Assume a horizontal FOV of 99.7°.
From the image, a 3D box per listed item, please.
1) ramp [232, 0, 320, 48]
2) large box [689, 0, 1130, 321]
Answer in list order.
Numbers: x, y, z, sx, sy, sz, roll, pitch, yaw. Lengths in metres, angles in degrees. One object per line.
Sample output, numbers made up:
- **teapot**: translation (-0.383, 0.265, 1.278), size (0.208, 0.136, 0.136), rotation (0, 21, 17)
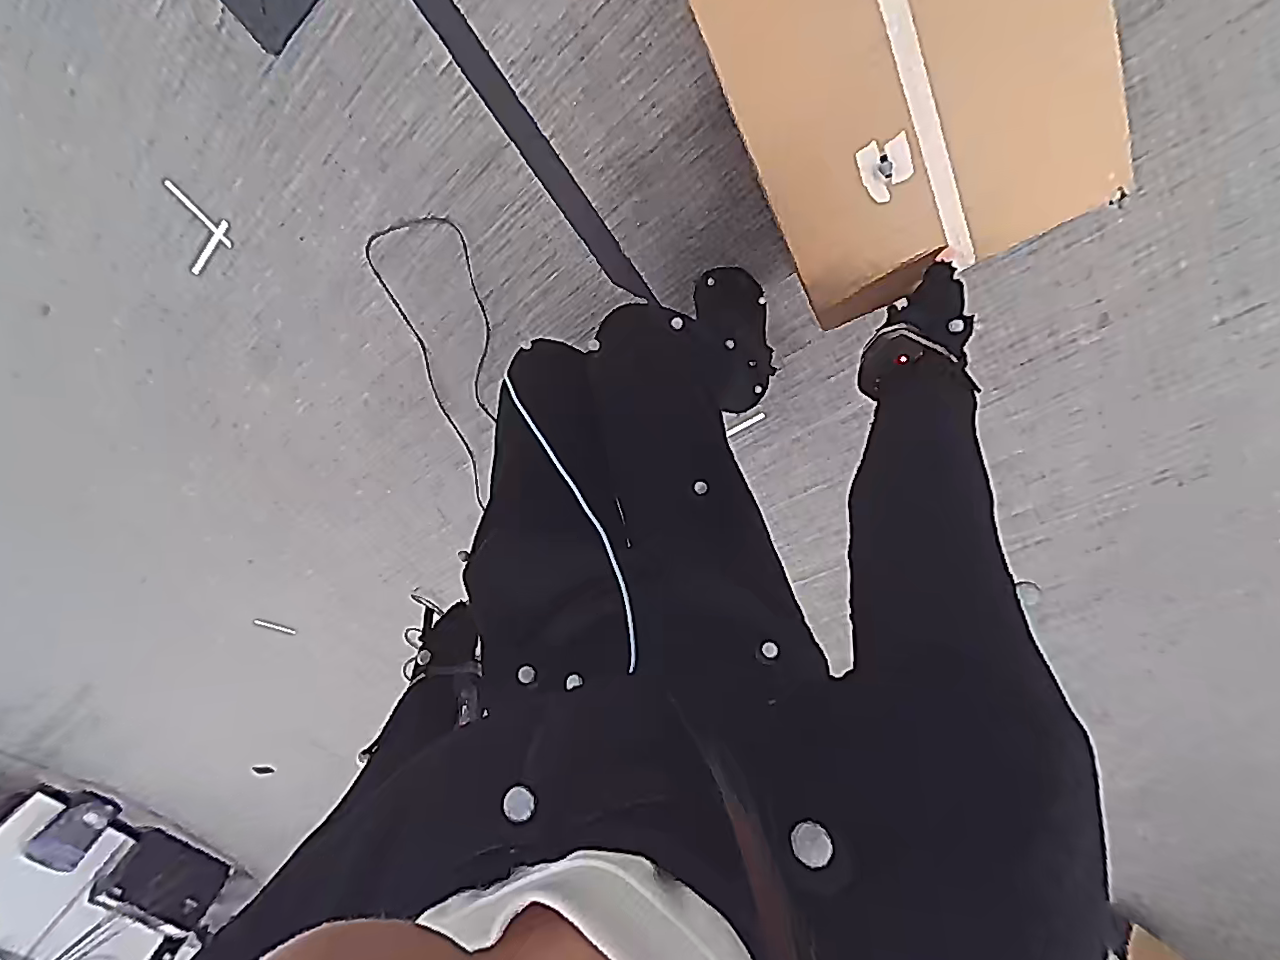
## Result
- **ramp**: translation (-0.662, -1.080, 0.489), size (0.509, 0.206, 0.991), rotation (-28, 115, 26)
- **large box**: translation (0.279, -0.475, 0.637), size (0.320, 0.320, 0.408), rotation (-22, 117, 23)
